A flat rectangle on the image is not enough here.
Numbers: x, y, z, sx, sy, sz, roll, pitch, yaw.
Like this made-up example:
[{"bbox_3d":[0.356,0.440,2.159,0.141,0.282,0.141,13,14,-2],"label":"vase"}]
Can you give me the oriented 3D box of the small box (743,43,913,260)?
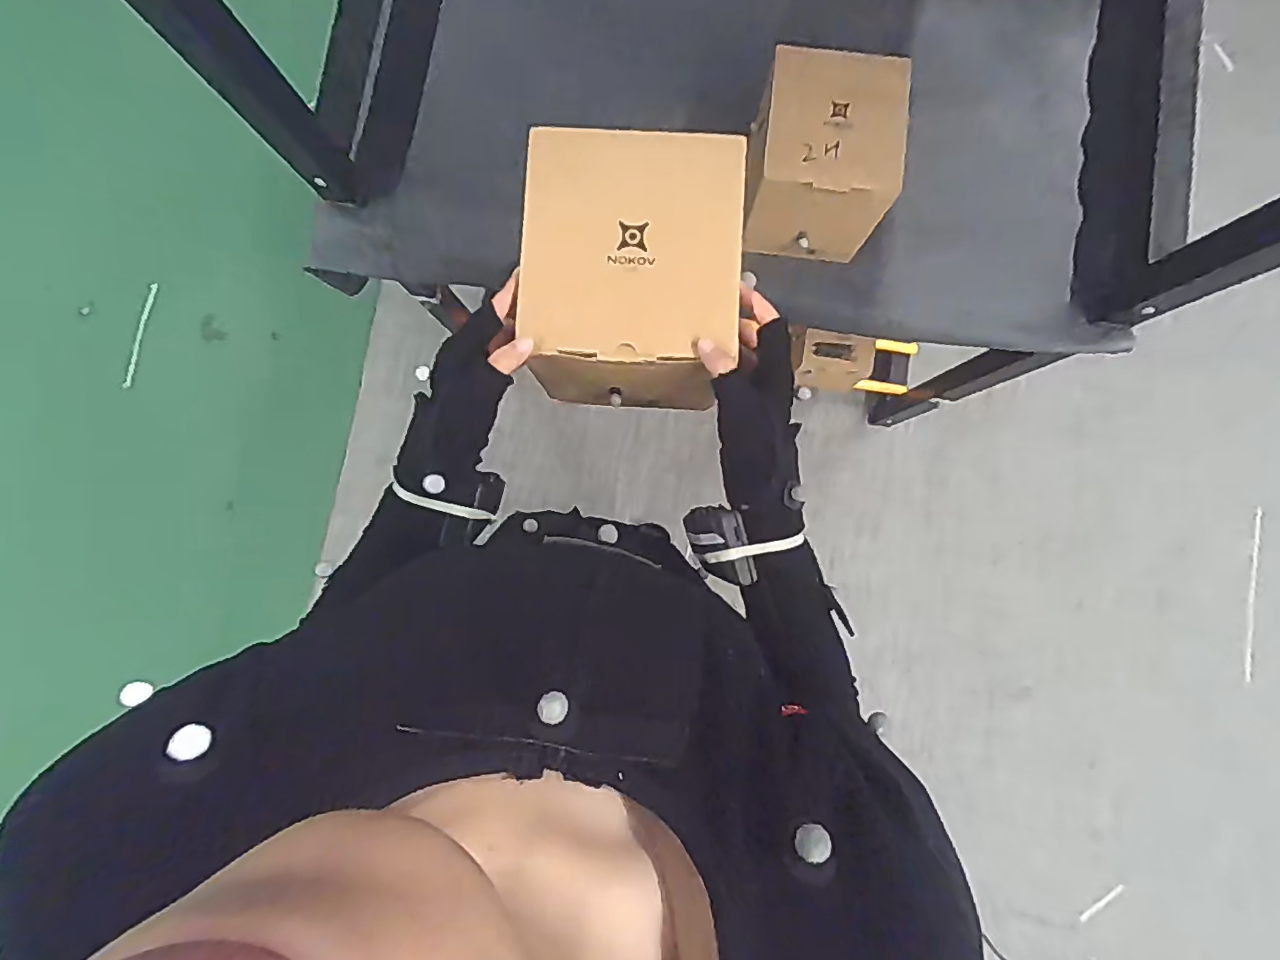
[{"bbox_3d":[0.240,-0.428,0.727,0.168,0.176,0.179,7,84,1],"label":"small box"}]
